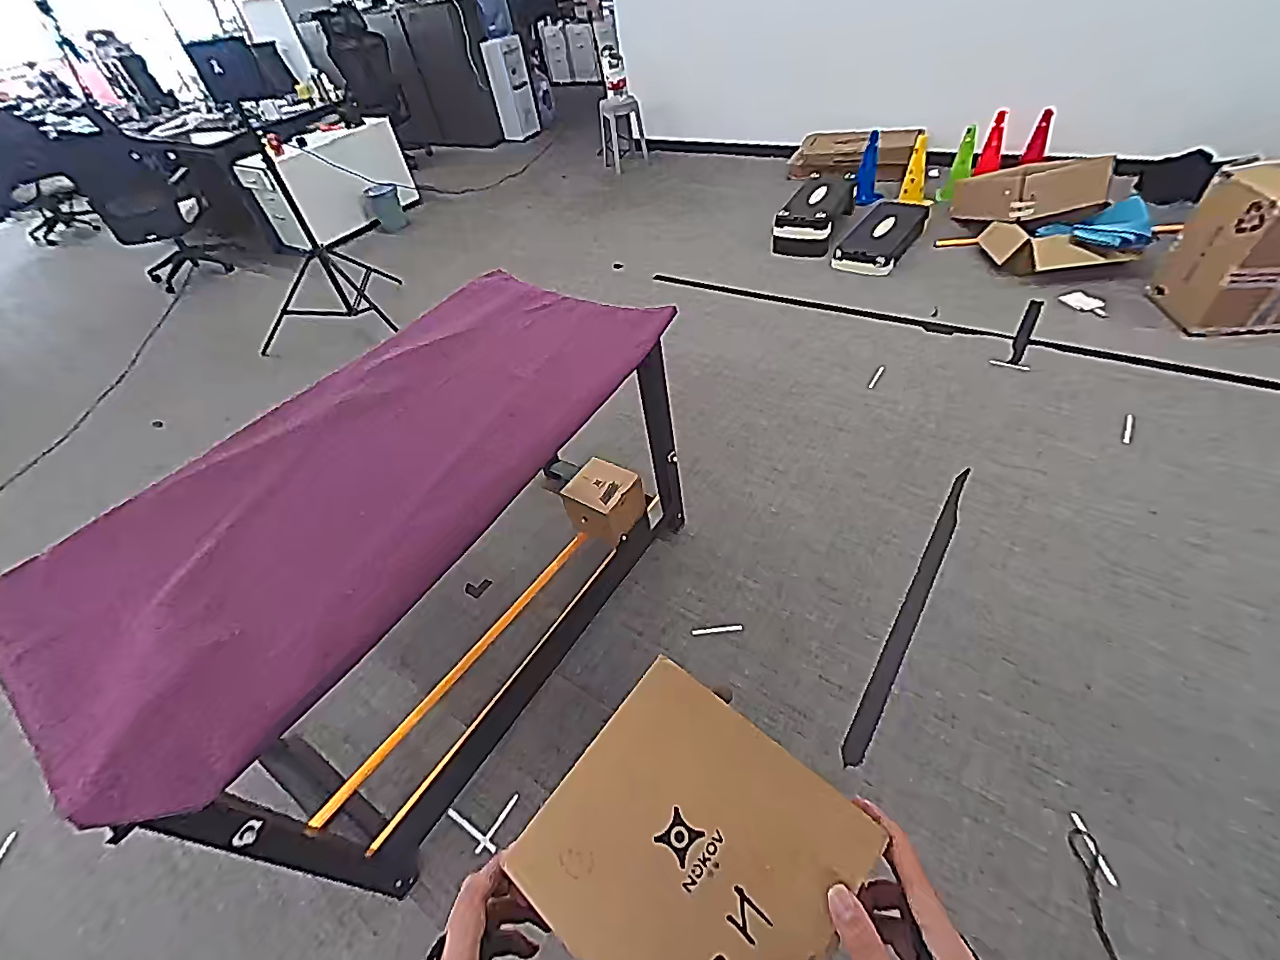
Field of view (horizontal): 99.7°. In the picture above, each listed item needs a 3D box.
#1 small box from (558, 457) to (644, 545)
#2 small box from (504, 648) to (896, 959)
[{"bbox_3d":[-0.106,0.066,1.590,0.179,0.176,0.168,22,55,29],"label":"small box"},{"bbox_3d":[0.041,0.258,0.385,0.179,0.176,0.168,33,68,27],"label":"small box"}]
